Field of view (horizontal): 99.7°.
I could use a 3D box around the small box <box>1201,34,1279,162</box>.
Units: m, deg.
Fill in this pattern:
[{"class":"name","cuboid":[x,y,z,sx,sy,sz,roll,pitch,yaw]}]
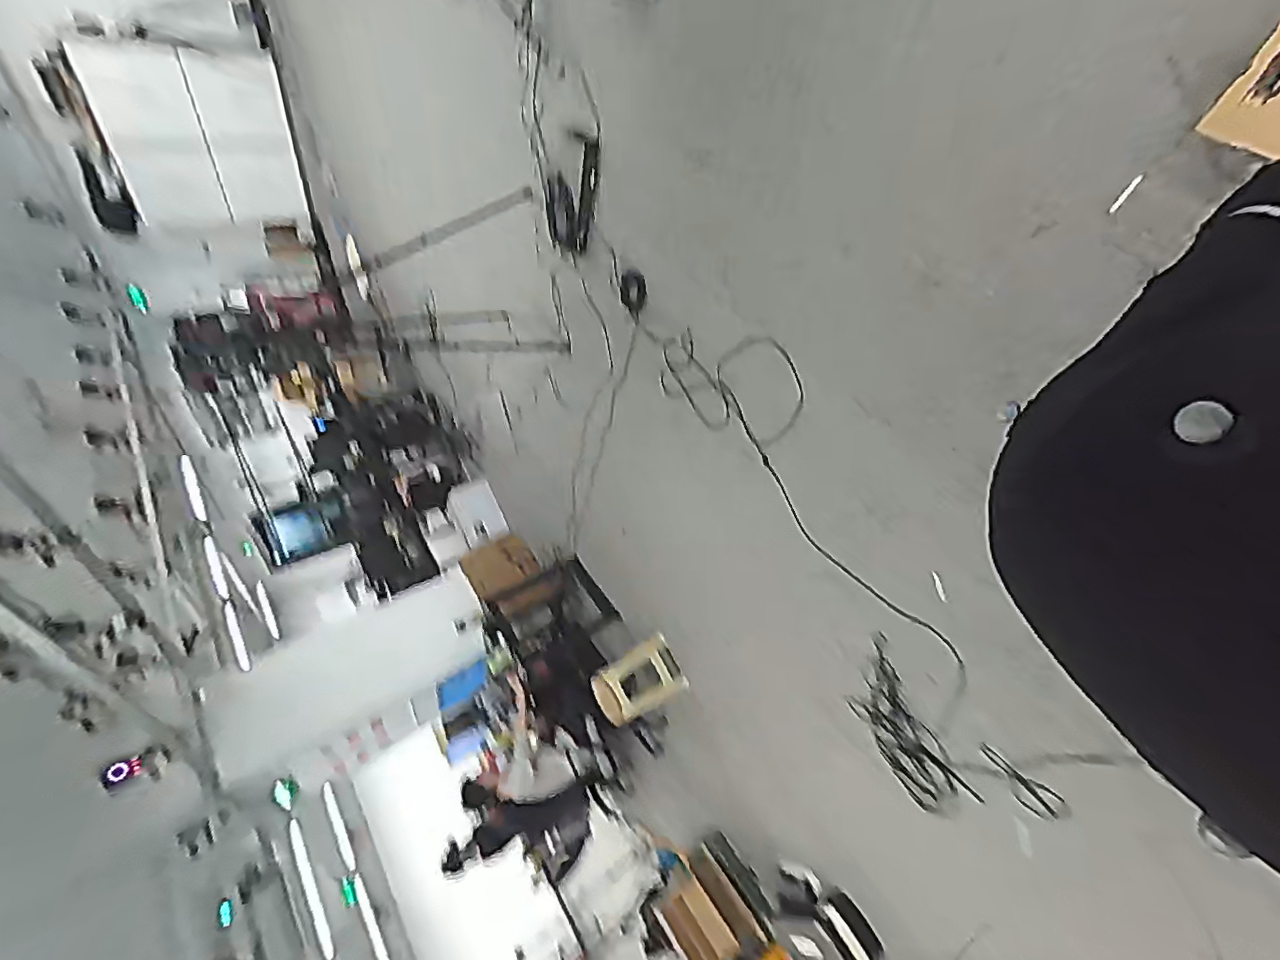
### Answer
[{"class":"small box","cuboid":[1.028,-0.580,0.816,0.179,0.176,0.168,47,143,28]}]
